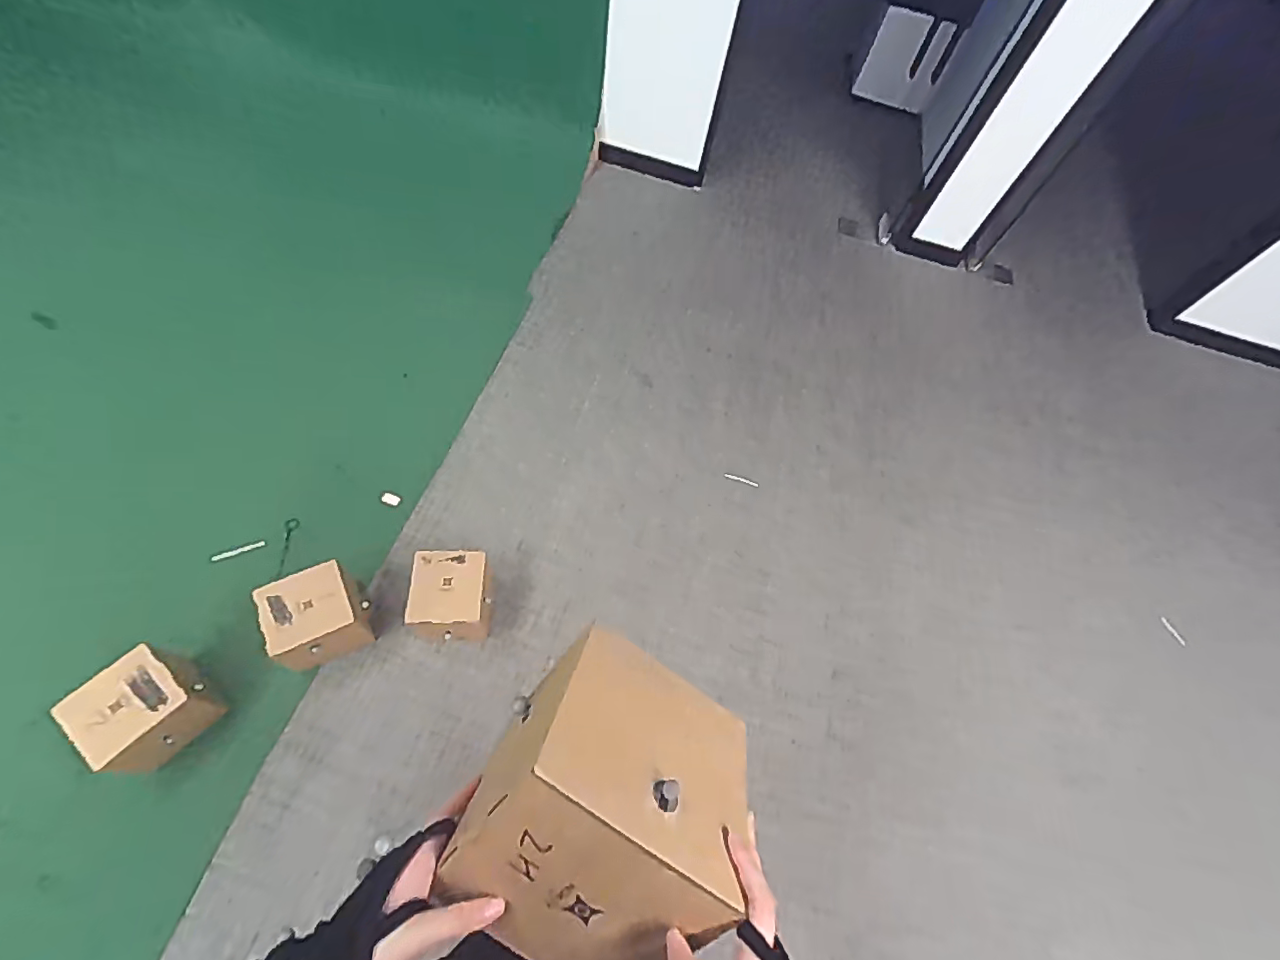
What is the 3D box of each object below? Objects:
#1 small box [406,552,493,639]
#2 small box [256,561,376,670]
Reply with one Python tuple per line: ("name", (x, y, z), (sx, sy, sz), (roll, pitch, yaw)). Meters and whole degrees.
("small box", (-0.460, 0.289, 1.331), (0.168, 0.176, 0.179), (2, 61, -8))
("small box", (-0.750, 0.322, 1.265), (0.179, 0.176, 0.168), (-23, 67, -21))
